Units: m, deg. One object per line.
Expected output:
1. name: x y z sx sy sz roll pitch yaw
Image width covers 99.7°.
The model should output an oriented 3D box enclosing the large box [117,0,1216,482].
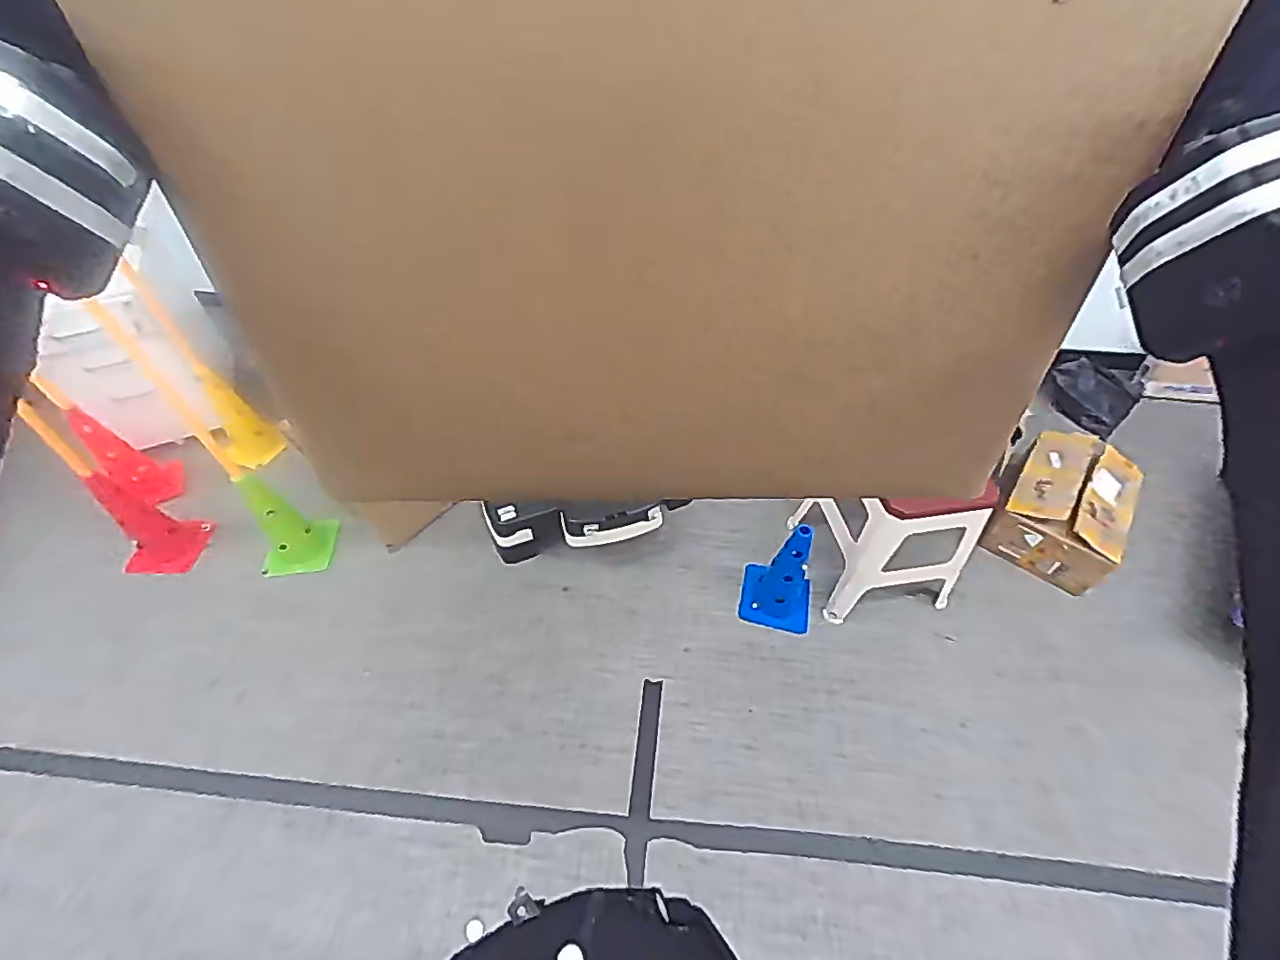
1. large box: 0.008 -0.208 0.353 0.408 0.320 0.320 1 41 0
